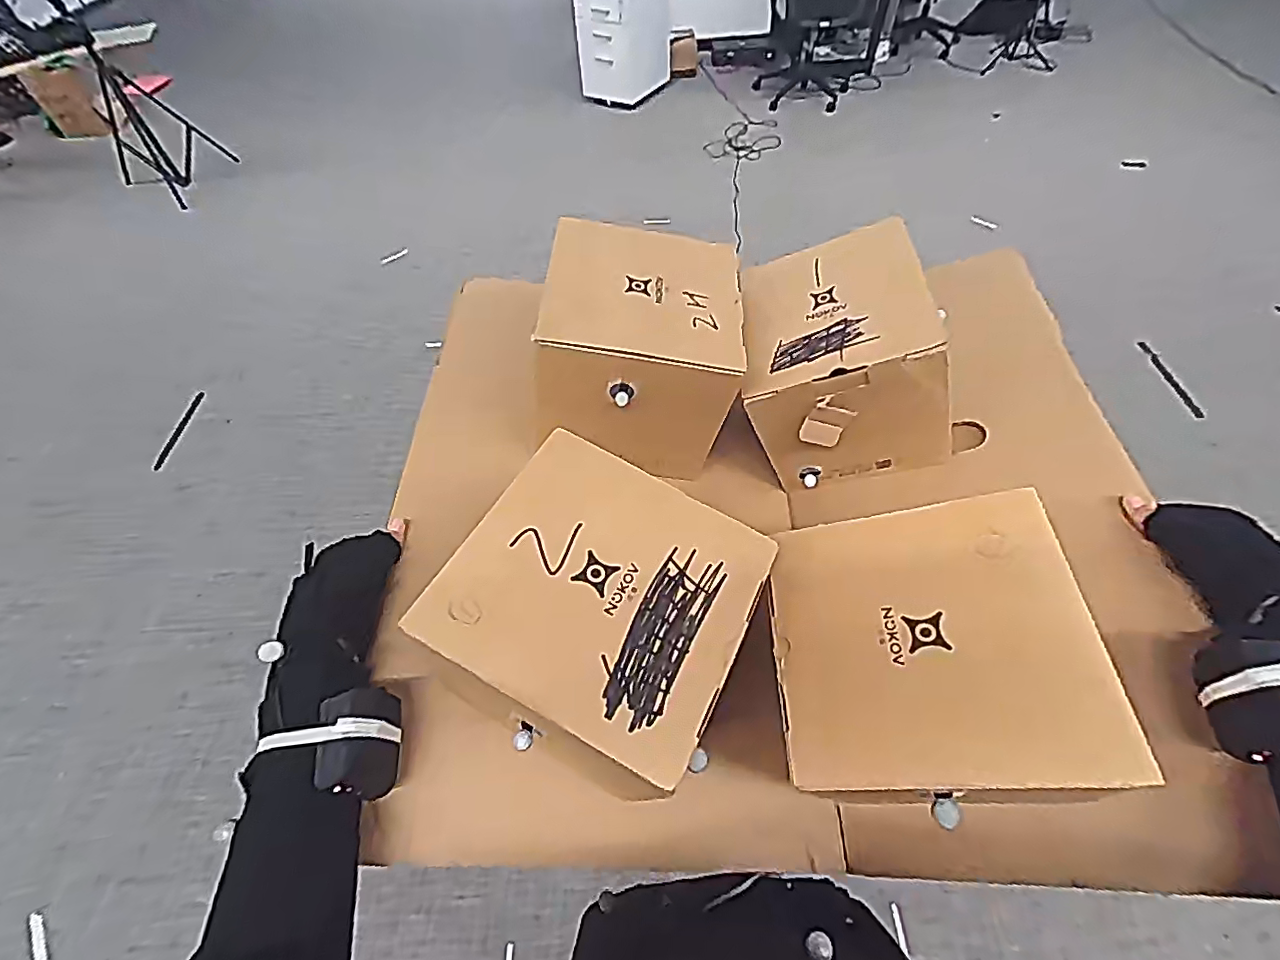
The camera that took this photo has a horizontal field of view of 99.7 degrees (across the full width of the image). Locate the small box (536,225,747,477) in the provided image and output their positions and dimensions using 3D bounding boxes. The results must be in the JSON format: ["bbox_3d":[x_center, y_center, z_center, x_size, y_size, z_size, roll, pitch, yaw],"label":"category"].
[{"bbox_3d":[-0.005,-0.119,0.543,0.179,0.176,0.168,8,58,-6],"label":"small box"}]
